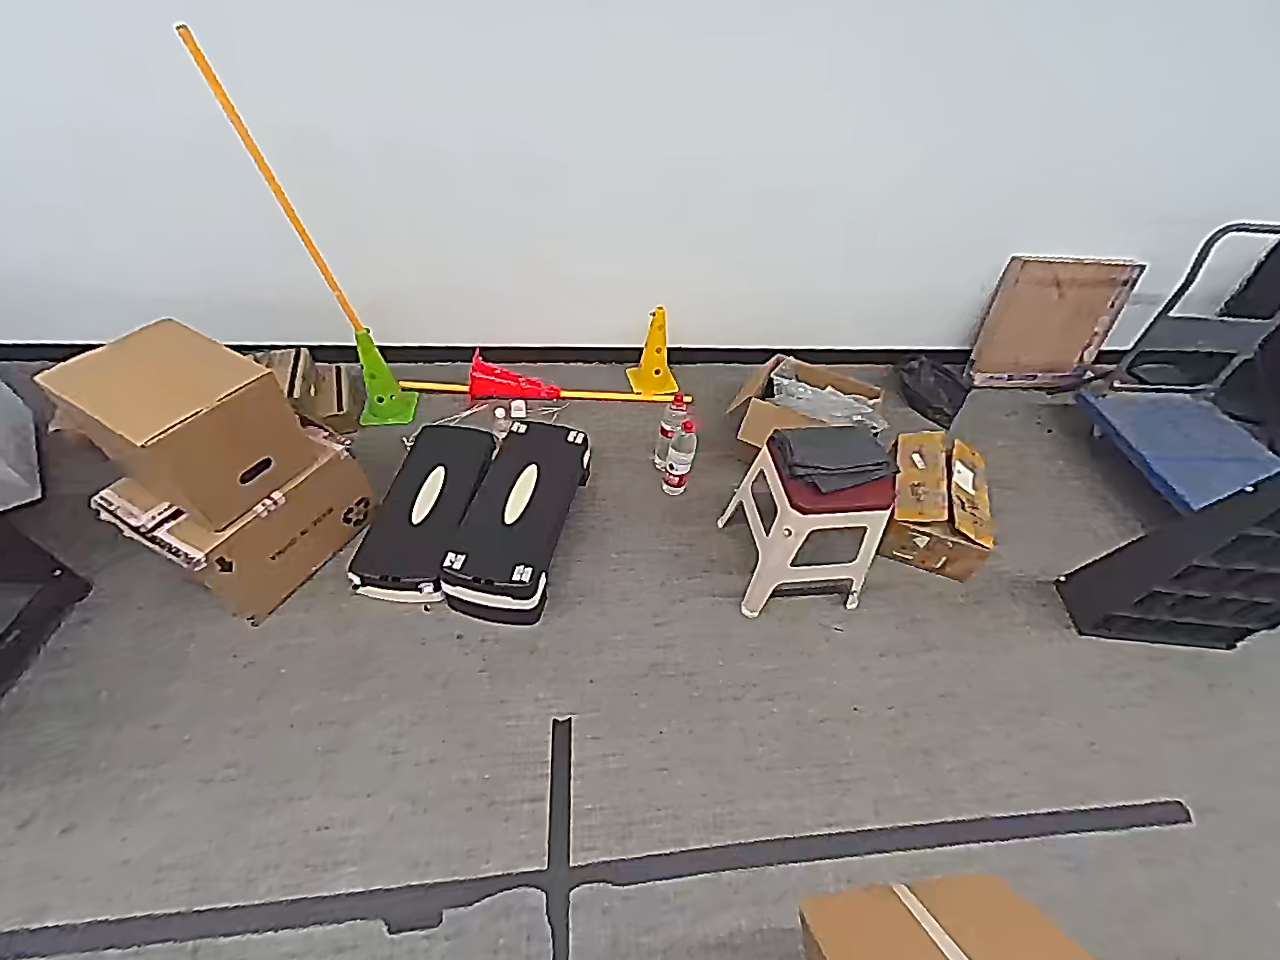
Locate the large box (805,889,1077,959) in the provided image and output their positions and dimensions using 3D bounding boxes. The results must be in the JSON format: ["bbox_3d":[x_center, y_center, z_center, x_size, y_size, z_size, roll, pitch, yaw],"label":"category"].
[{"bbox_3d":[0.418,0.761,0.612,0.320,0.408,0.320,-5,83,-2],"label":"large box"}]
